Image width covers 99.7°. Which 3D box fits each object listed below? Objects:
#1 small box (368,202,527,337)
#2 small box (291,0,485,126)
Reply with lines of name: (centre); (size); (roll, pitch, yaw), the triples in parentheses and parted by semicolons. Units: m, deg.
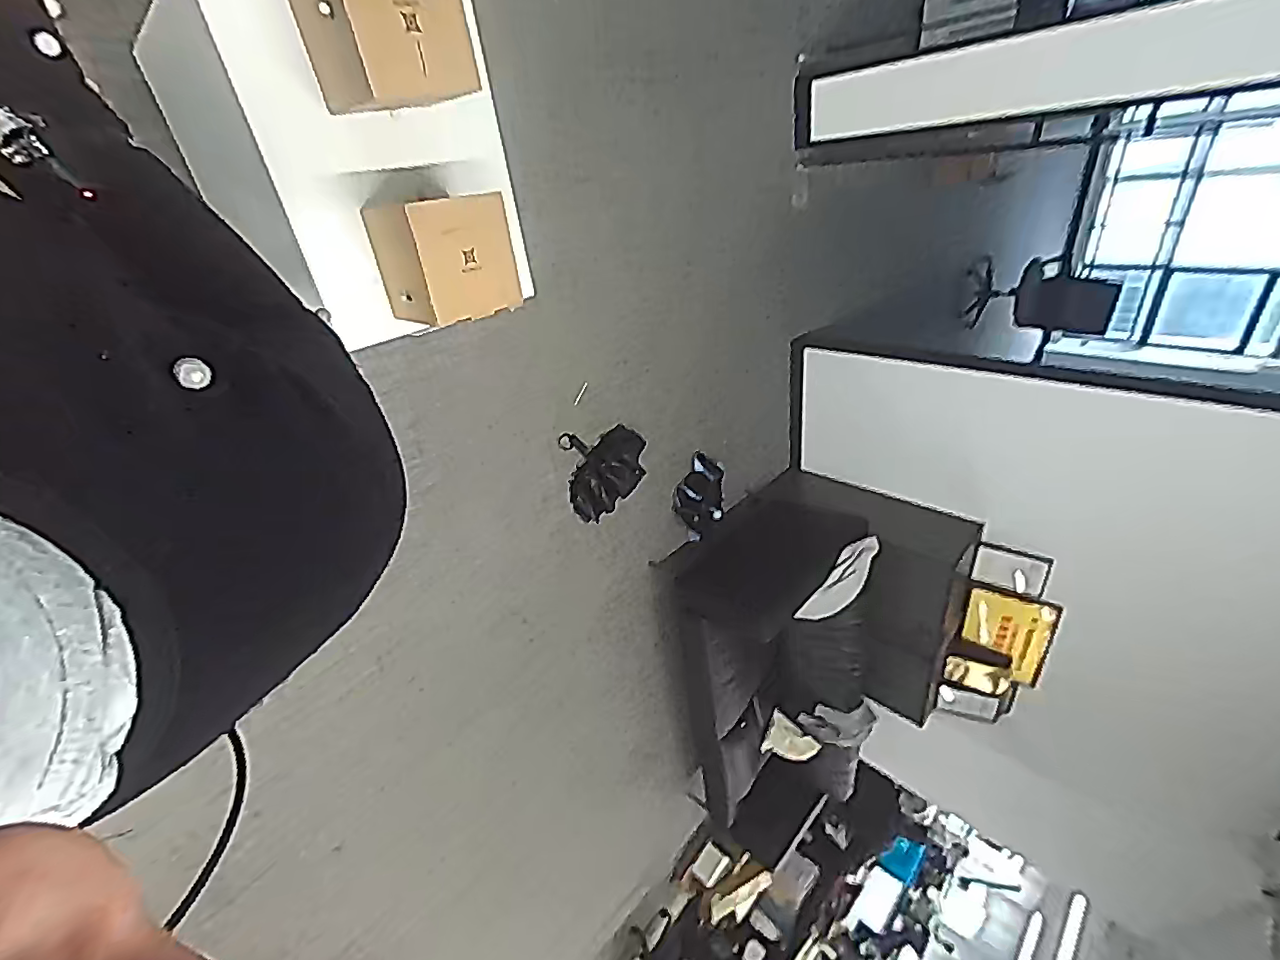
small box: (-0.315, -0.350, 0.892); (0.168, 0.176, 0.179); (-31, 126, -36)
small box: (-0.347, -0.606, 0.742); (0.168, 0.176, 0.179); (-34, 131, -33)
